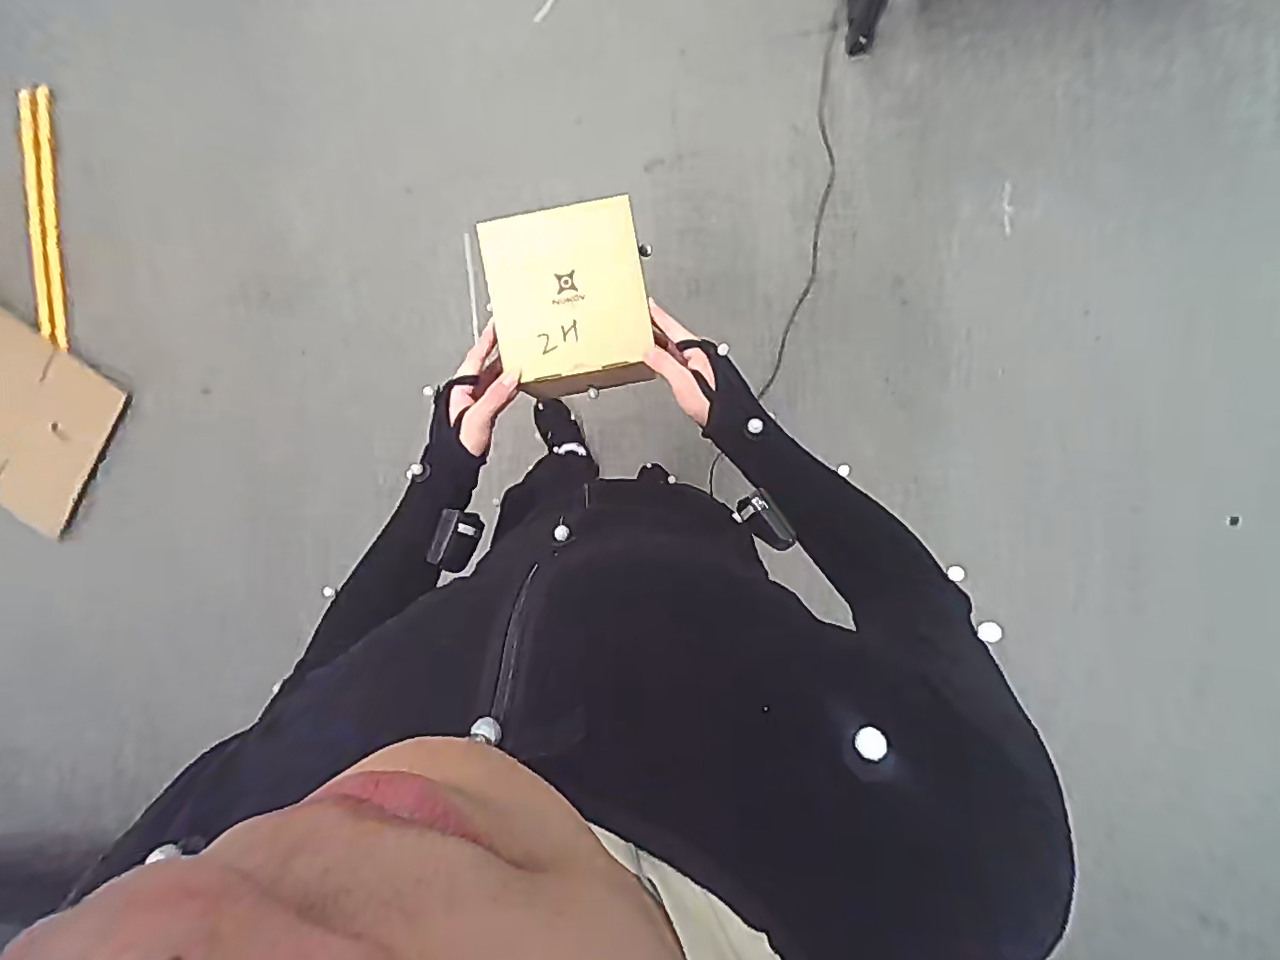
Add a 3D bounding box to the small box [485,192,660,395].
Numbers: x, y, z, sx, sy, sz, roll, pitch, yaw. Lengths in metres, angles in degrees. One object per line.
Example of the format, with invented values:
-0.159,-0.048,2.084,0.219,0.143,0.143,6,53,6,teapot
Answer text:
-0.071,-0.208,0.650,0.168,0.176,0.179,-9,93,2,small box
